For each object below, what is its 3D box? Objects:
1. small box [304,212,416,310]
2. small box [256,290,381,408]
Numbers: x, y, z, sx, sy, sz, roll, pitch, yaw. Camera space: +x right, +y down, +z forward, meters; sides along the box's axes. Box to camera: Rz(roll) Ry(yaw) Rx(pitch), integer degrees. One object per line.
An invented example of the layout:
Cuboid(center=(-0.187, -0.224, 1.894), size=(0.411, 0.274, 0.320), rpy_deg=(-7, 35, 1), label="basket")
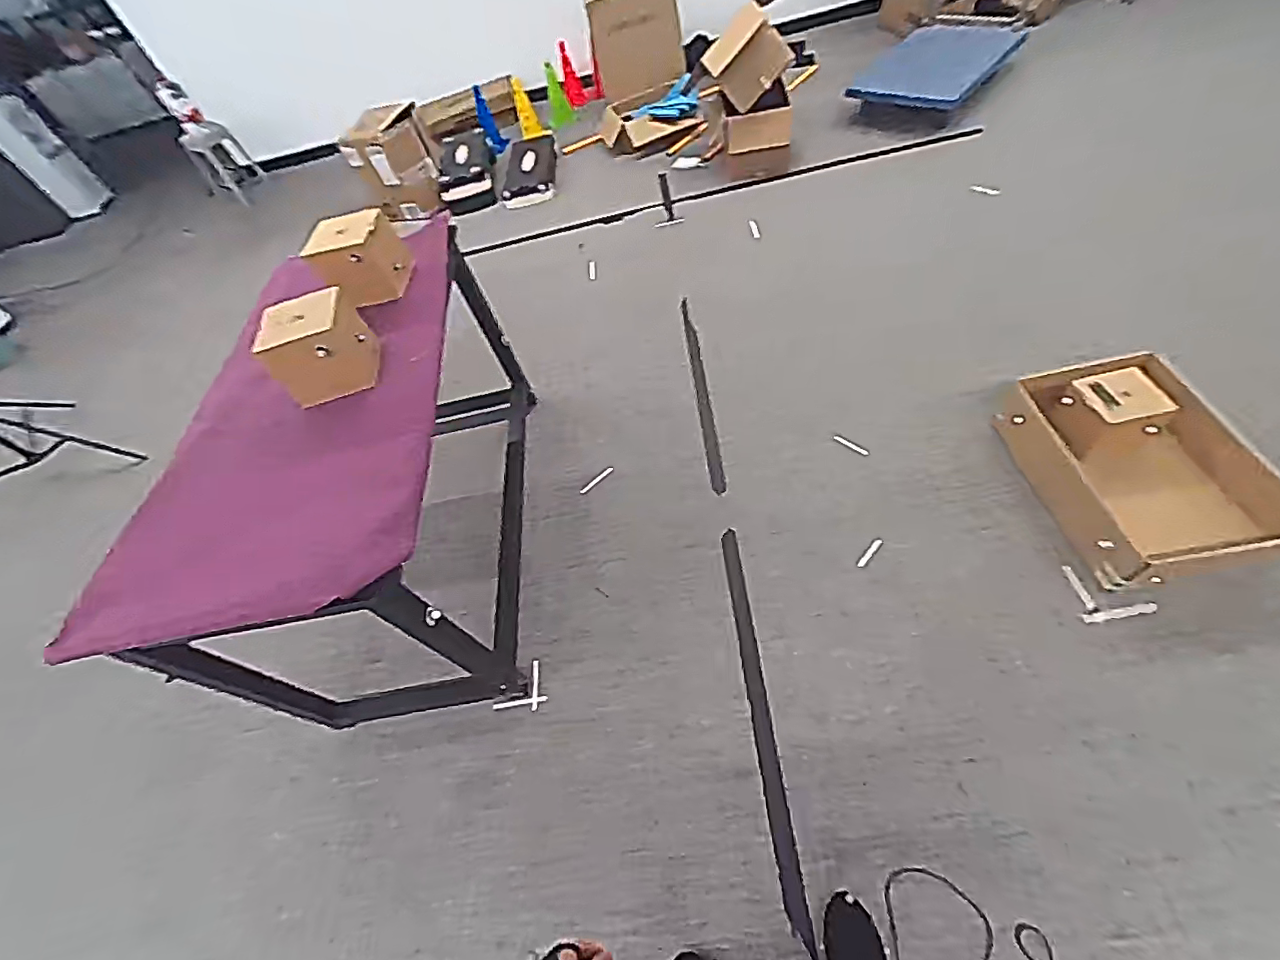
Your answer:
Cuboid(center=(-0.732, -0.573, 1.434), size=(0.179, 0.176, 0.168), rpy_deg=(-8, 54, 10), label="small box")
Cuboid(center=(-0.717, -0.294, 1.230), size=(0.179, 0.176, 0.168), rpy_deg=(-18, 52, 1), label="small box")
